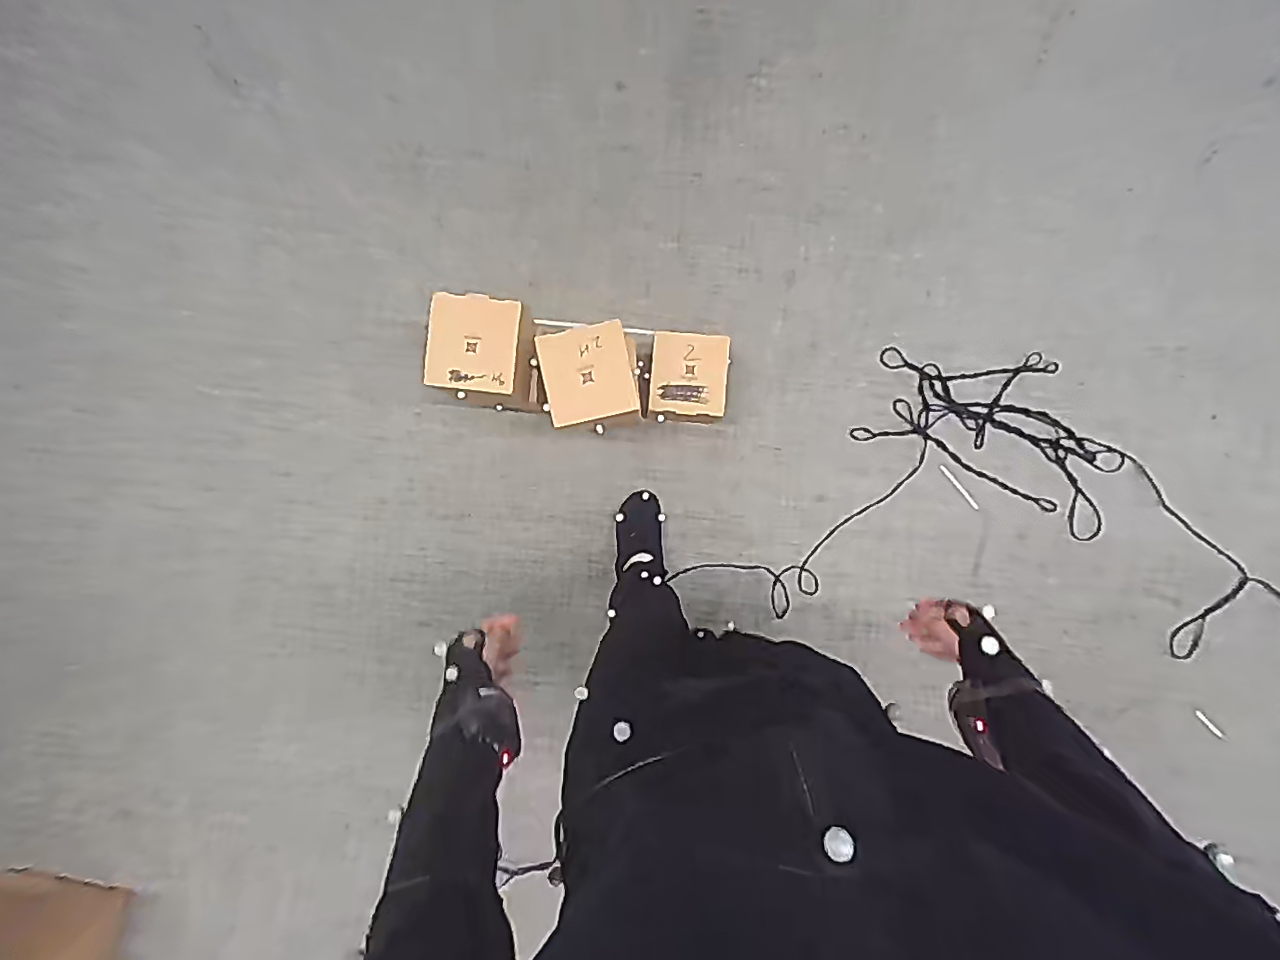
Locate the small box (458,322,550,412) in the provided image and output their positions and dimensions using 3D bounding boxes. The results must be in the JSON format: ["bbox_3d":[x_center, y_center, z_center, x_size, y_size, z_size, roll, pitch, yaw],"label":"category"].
[{"bbox_3d":[-0.297,-0.251,1.238,0.179,0.176,0.168,6,90,0],"label":"small box"}]

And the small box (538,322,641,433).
[{"bbox_3d":[-0.092,-0.194,1.078,0.168,0.176,0.179,-12,90,0],"label":"small box"}]
